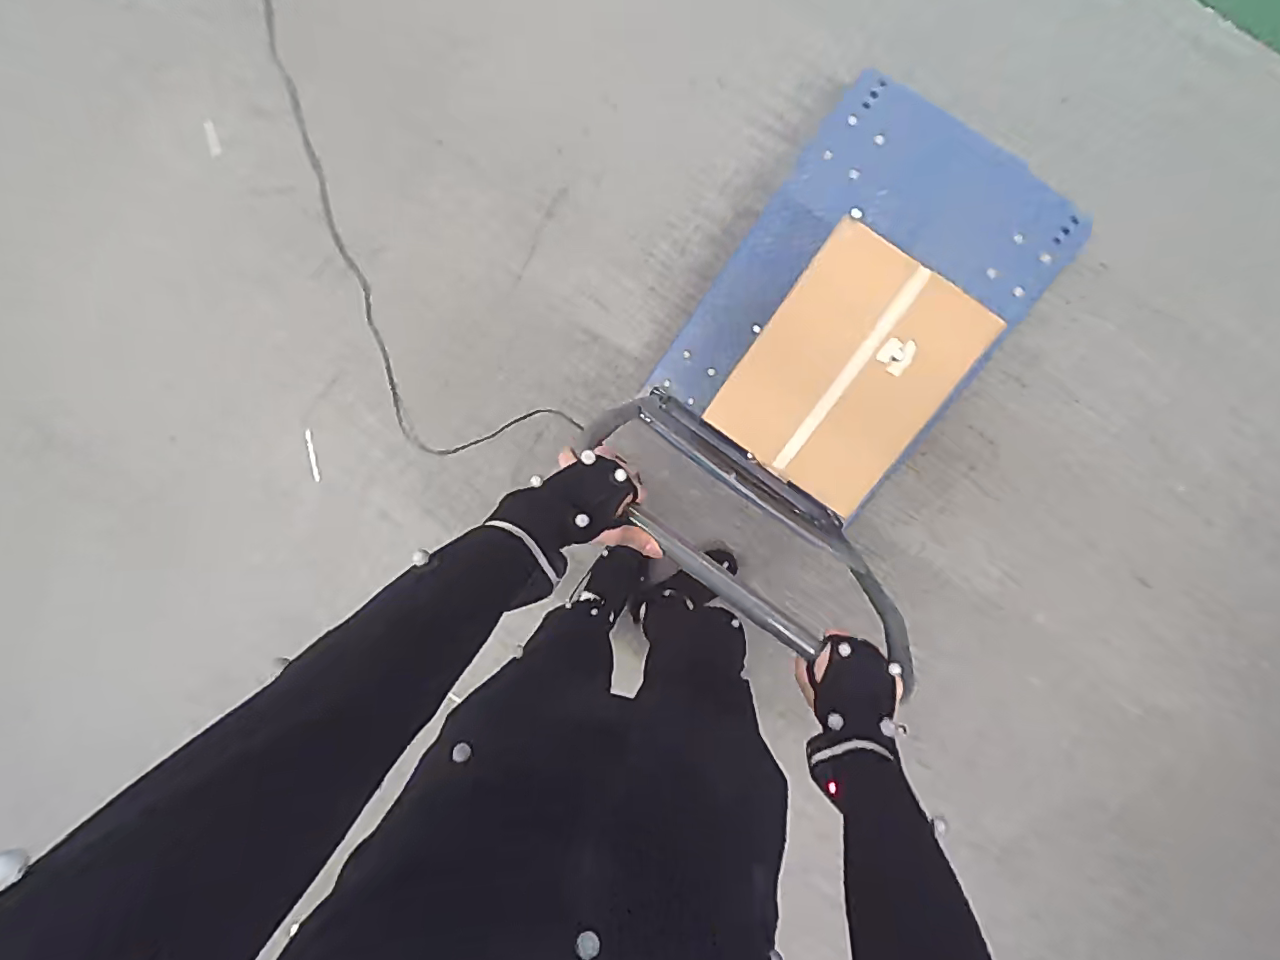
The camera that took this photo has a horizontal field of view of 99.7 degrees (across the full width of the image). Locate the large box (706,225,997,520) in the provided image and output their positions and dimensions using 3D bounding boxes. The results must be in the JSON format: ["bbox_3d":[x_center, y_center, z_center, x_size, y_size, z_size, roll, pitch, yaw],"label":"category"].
[{"bbox_3d":[0.367,-0.190,1.060,0.320,0.320,0.408,36,100,1],"label":"large box"}]
